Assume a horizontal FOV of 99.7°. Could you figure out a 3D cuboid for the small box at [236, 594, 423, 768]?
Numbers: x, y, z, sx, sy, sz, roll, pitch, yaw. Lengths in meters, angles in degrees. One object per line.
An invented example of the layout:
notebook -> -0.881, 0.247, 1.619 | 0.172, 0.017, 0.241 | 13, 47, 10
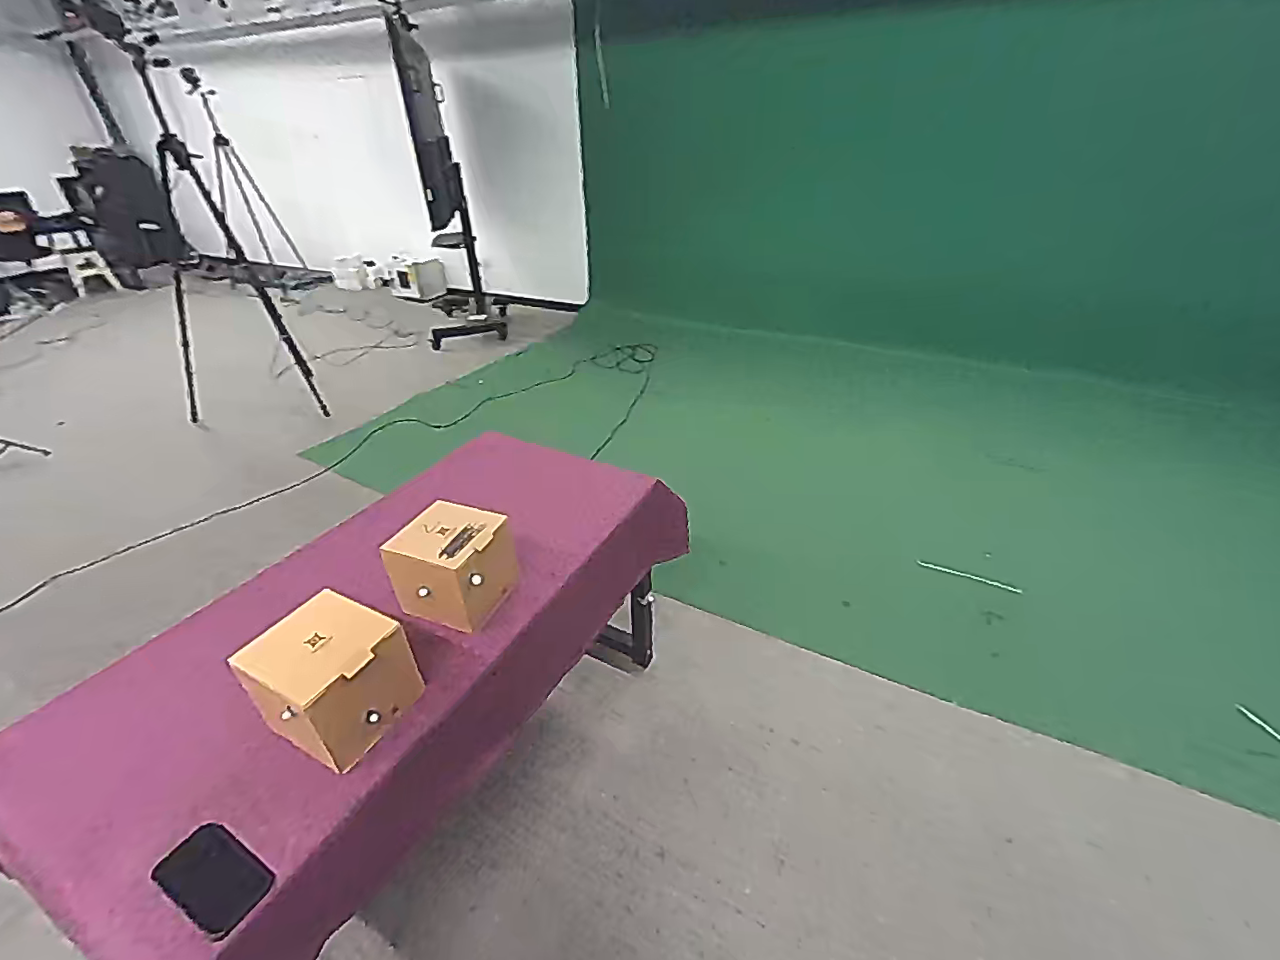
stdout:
small box -> -0.480, 0.317, 0.858 | 0.179, 0.176, 0.168 | 15, 36, 23
